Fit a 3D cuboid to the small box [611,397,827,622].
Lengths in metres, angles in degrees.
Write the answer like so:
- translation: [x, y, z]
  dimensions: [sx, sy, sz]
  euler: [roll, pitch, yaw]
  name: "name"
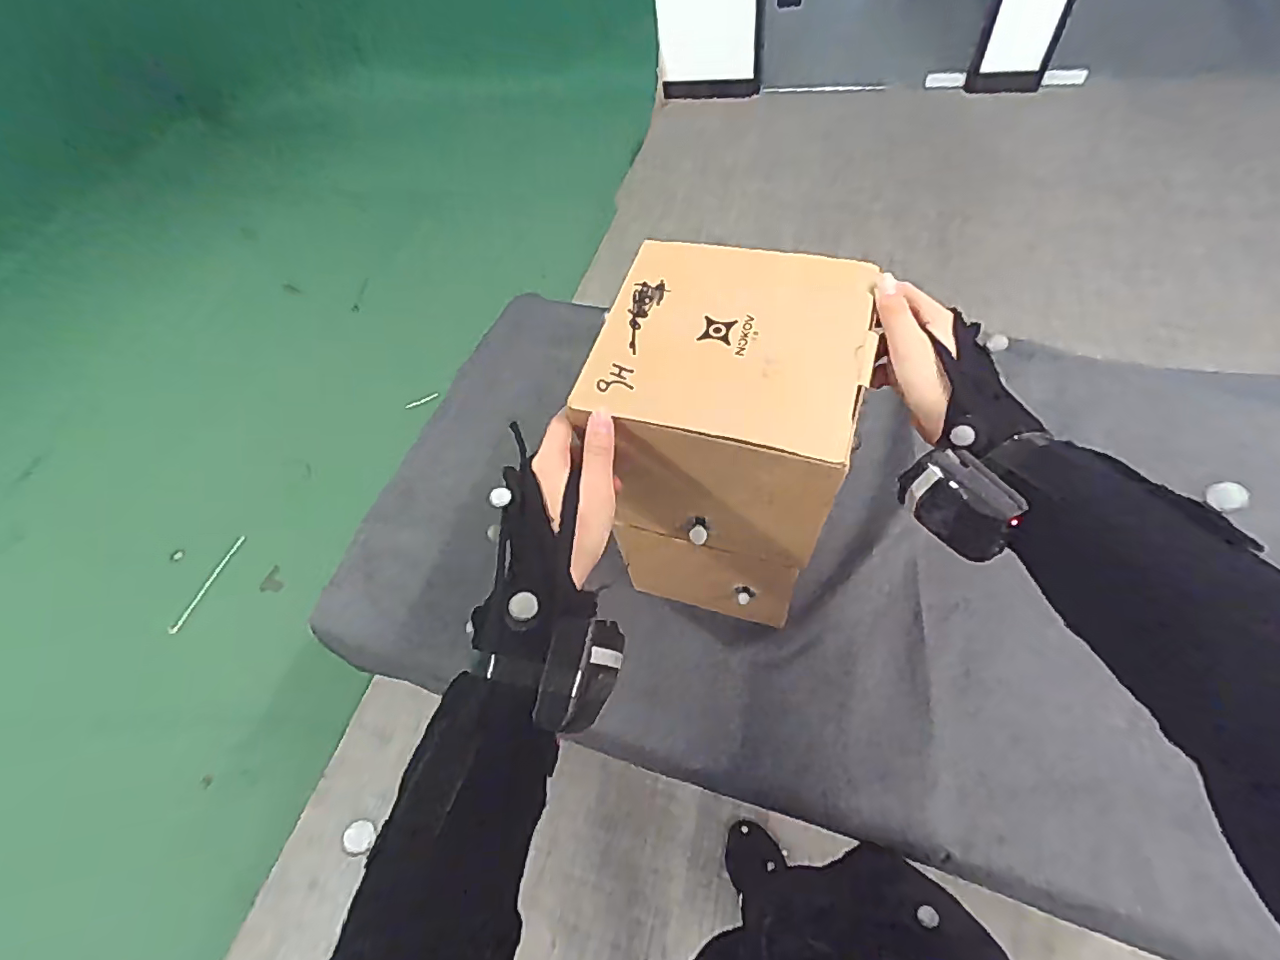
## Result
- translation: [0.089, 0.038, 0.584]
  dimensions: [0.179, 0.176, 0.168]
  euler: [11, 58, 17]
  name: "small box"
